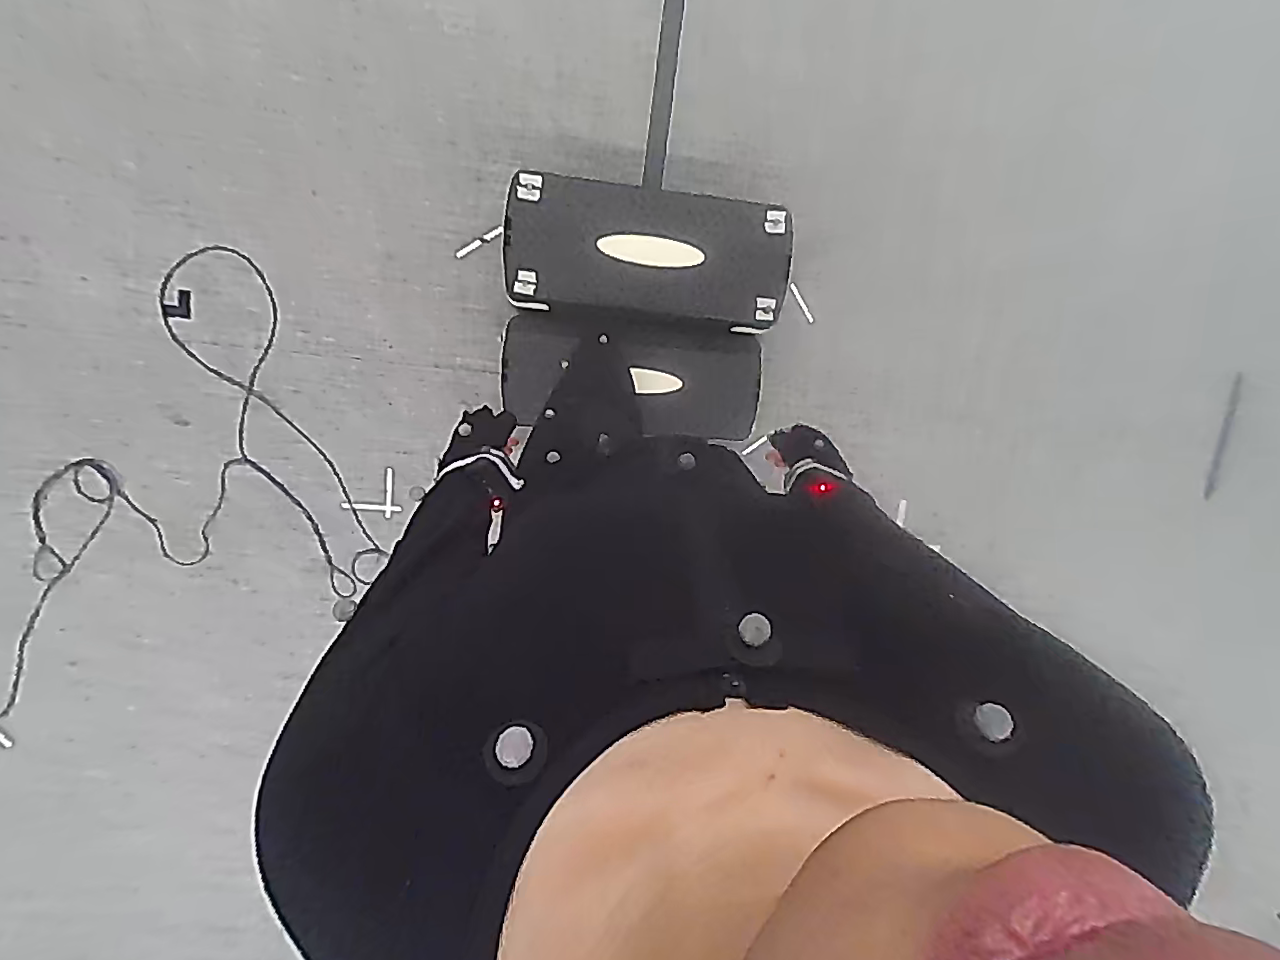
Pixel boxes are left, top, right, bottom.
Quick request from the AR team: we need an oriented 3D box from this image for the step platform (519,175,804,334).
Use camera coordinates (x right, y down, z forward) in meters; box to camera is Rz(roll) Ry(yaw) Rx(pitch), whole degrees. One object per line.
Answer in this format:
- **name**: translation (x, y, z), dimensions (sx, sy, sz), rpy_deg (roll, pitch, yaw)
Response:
- **step platform**: translation (0.050, -0.539, 1.331), dimensions (0.684, 0.204, 0.286), rpy_deg (4, 100, -7)
